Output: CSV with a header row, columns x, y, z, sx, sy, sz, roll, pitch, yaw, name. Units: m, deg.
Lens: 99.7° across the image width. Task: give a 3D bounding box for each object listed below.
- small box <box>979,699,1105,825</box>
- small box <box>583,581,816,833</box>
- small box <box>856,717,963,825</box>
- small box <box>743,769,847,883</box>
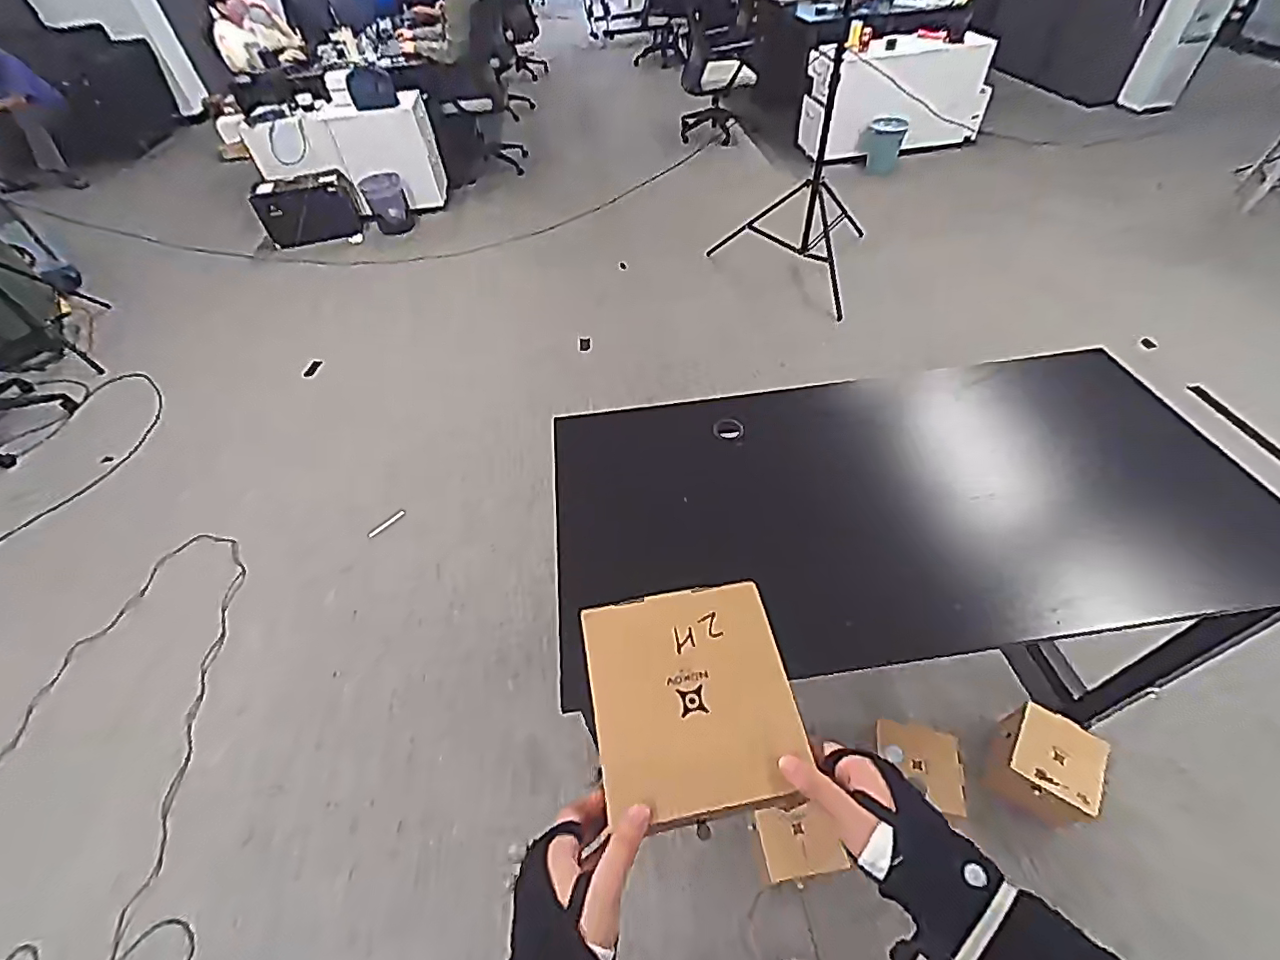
x,y,z,sx,sy,sz,roll,pitch,yaw,name
0.911,0.646,1.238,0.168,0.176,0.179,27,57,25,small box
0.043,0.221,0.517,0.168,0.176,0.179,-9,55,-6,small box
0.609,0.673,1.243,0.179,0.176,0.168,7,50,12,small box
0.327,0.761,1.188,0.168,0.176,0.179,-9,51,-3,small box
